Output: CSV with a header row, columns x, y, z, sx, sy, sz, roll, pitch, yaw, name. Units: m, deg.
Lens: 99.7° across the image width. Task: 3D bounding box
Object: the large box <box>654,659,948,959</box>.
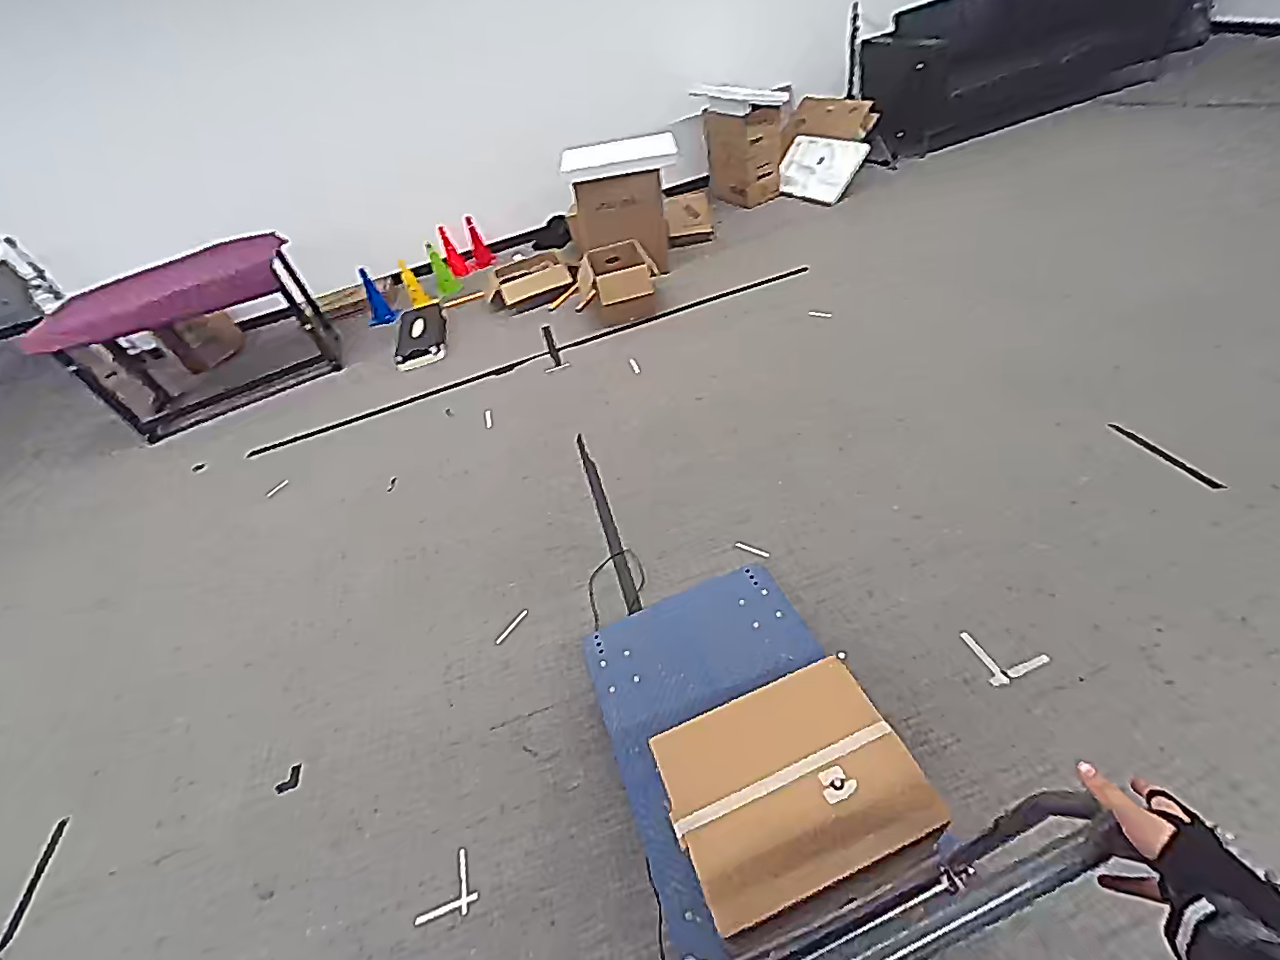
x,y,z,sx,sy,sz,roll,pitch,yaw,name
0.283,0.623,1.034,0.408,0.320,0.320,-21,44,-8,large box
